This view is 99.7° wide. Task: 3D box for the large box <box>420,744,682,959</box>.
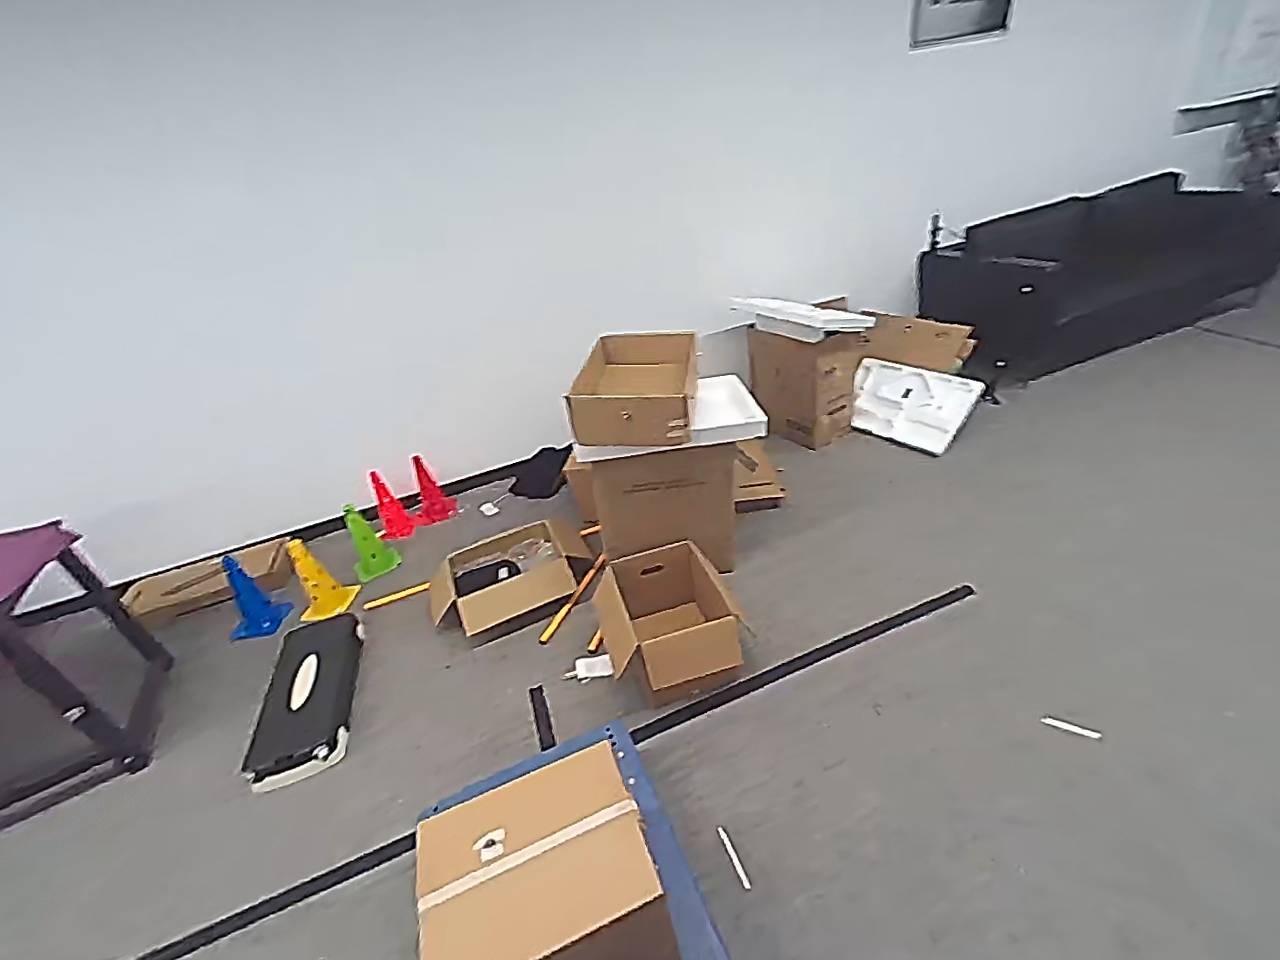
[{"bbox_3d":[-0.174,0.823,1.071,0.408,0.320,0.320,-19,31,-14],"label":"large box"}]
